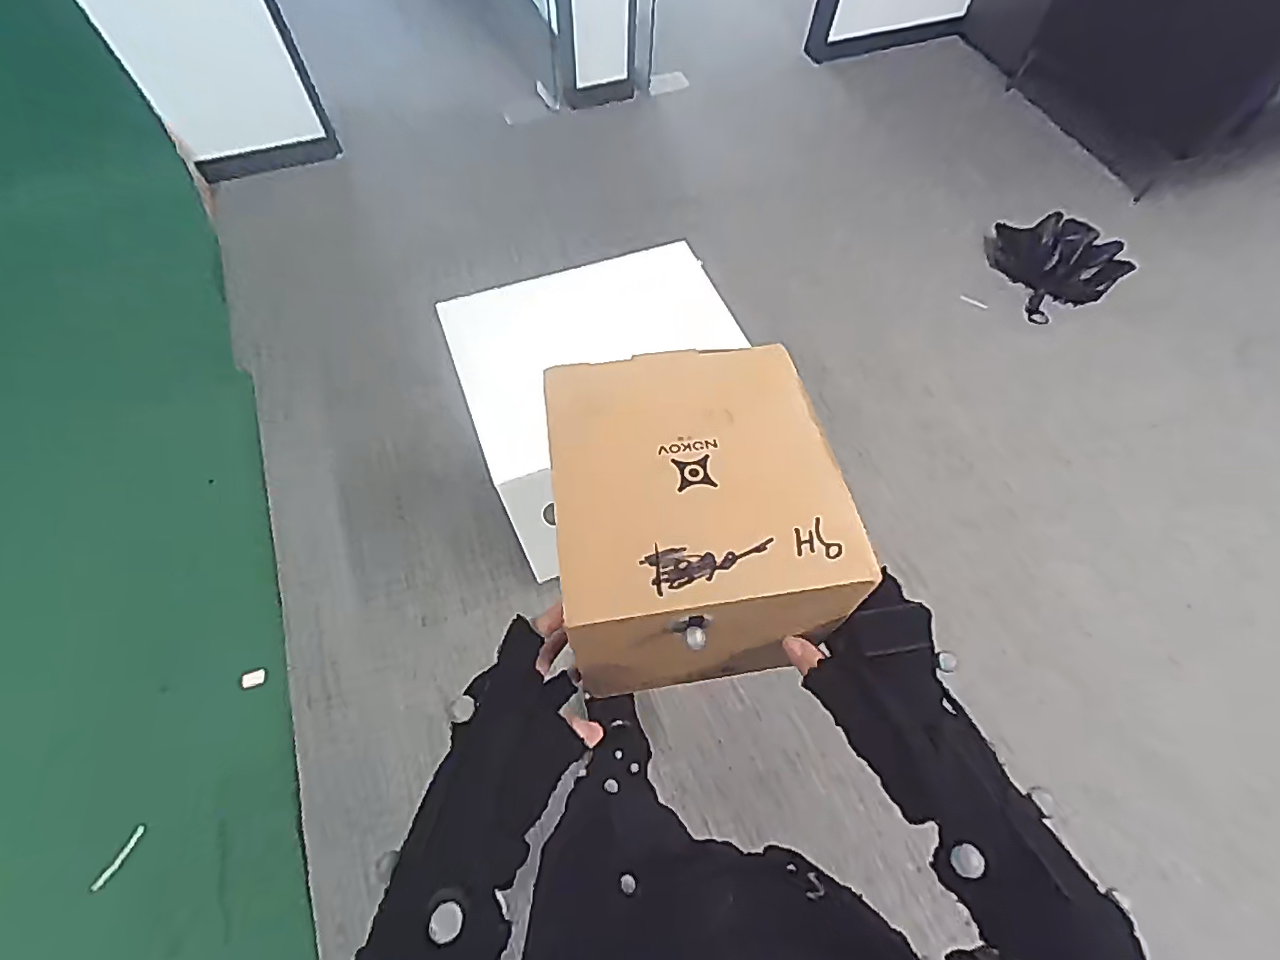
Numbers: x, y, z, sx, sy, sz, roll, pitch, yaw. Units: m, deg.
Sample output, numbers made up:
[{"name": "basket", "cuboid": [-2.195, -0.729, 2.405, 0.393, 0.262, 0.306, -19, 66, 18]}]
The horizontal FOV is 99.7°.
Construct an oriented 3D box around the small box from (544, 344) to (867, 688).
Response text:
[{"name": "small box", "cuboid": [0.027, 0.031, 0.389, 0.168, 0.176, 0.179, -8, 57, -4]}]
